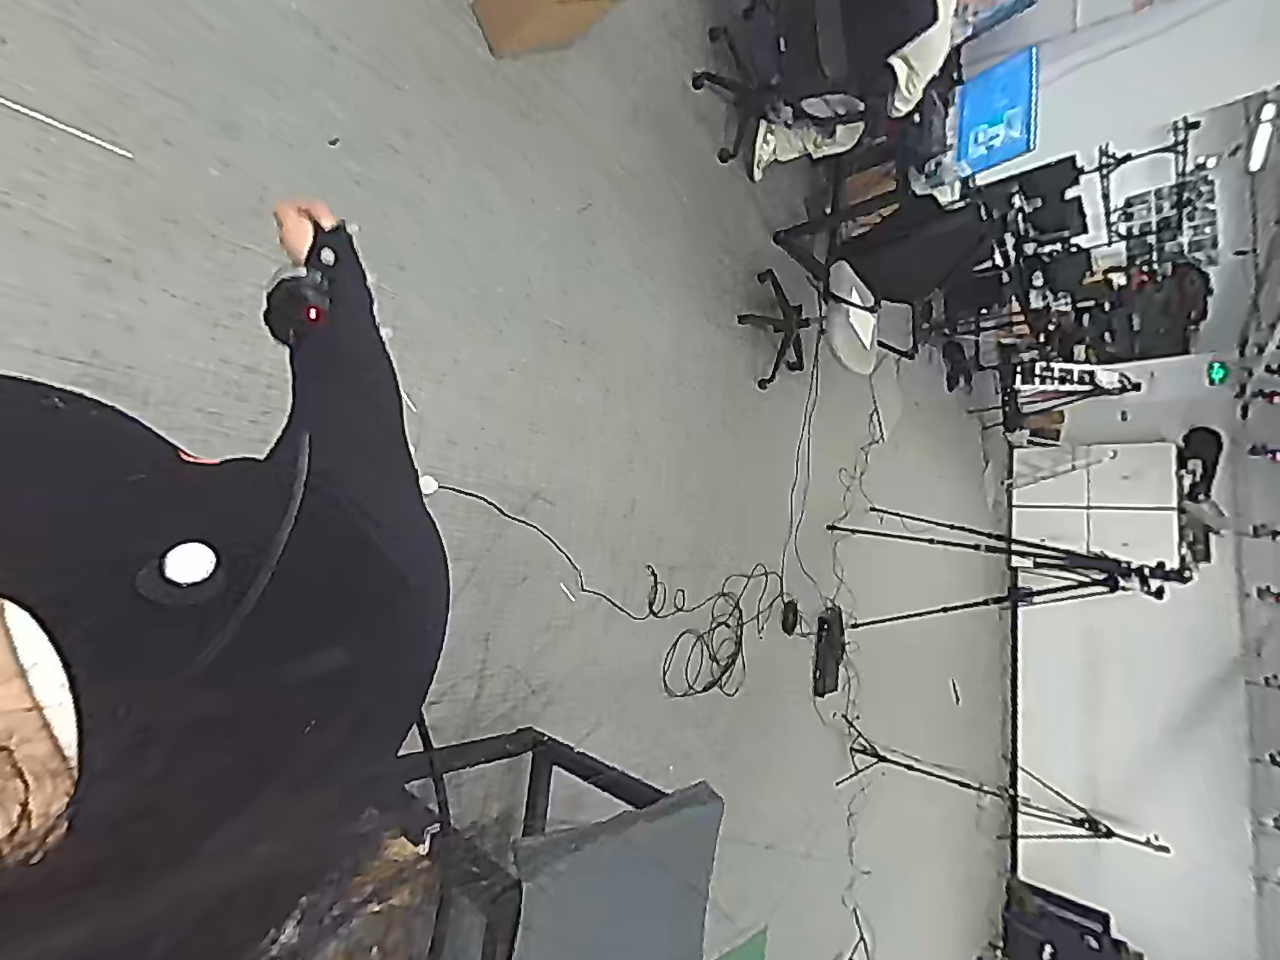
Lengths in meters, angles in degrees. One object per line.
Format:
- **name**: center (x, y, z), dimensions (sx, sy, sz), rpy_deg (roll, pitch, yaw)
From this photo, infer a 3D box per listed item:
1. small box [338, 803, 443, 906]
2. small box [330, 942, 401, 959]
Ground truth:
- **small box**: center (-0.648, 0.953, 1.398), dimensions (0.168, 0.176, 0.179), rpy_deg (30, 66, -42)
- **small box**: center (-0.692, 1.292, 1.337), dimensions (0.168, 0.176, 0.179), rpy_deg (41, 59, -39)
